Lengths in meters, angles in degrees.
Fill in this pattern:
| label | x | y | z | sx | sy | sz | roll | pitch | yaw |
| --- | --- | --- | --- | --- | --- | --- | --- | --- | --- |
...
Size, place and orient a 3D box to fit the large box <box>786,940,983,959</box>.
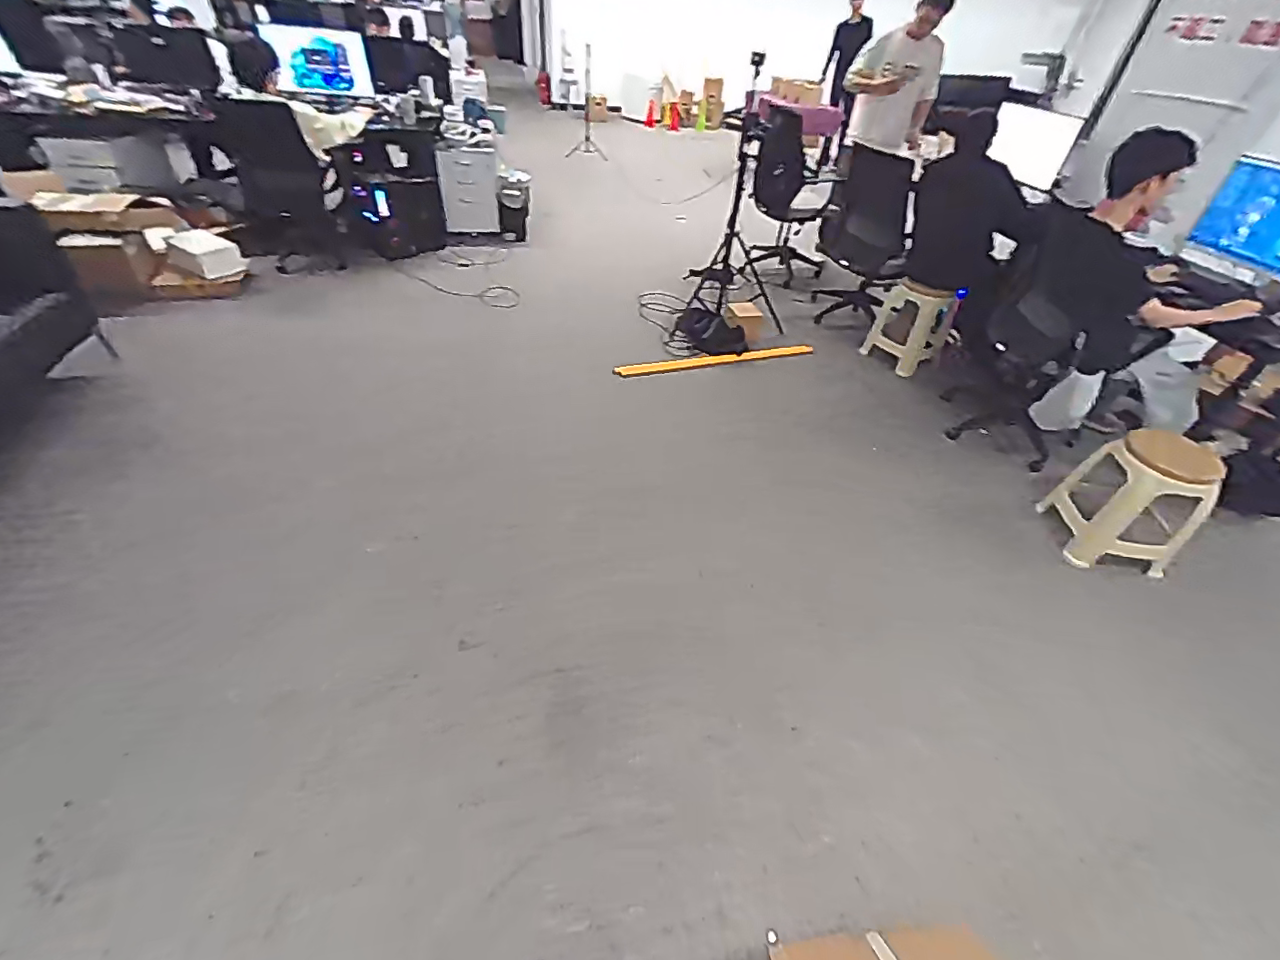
| label | x | y | z | sx | sy | sz | roll | pitch | yaw |
| --- | --- | --- | --- | --- | --- | --- | --- | --- | --- |
| large box | 0.362 | 0.824 | 0.587 | 0.320 | 0.408 | 0.320 | -2 | 84 | -4 |
